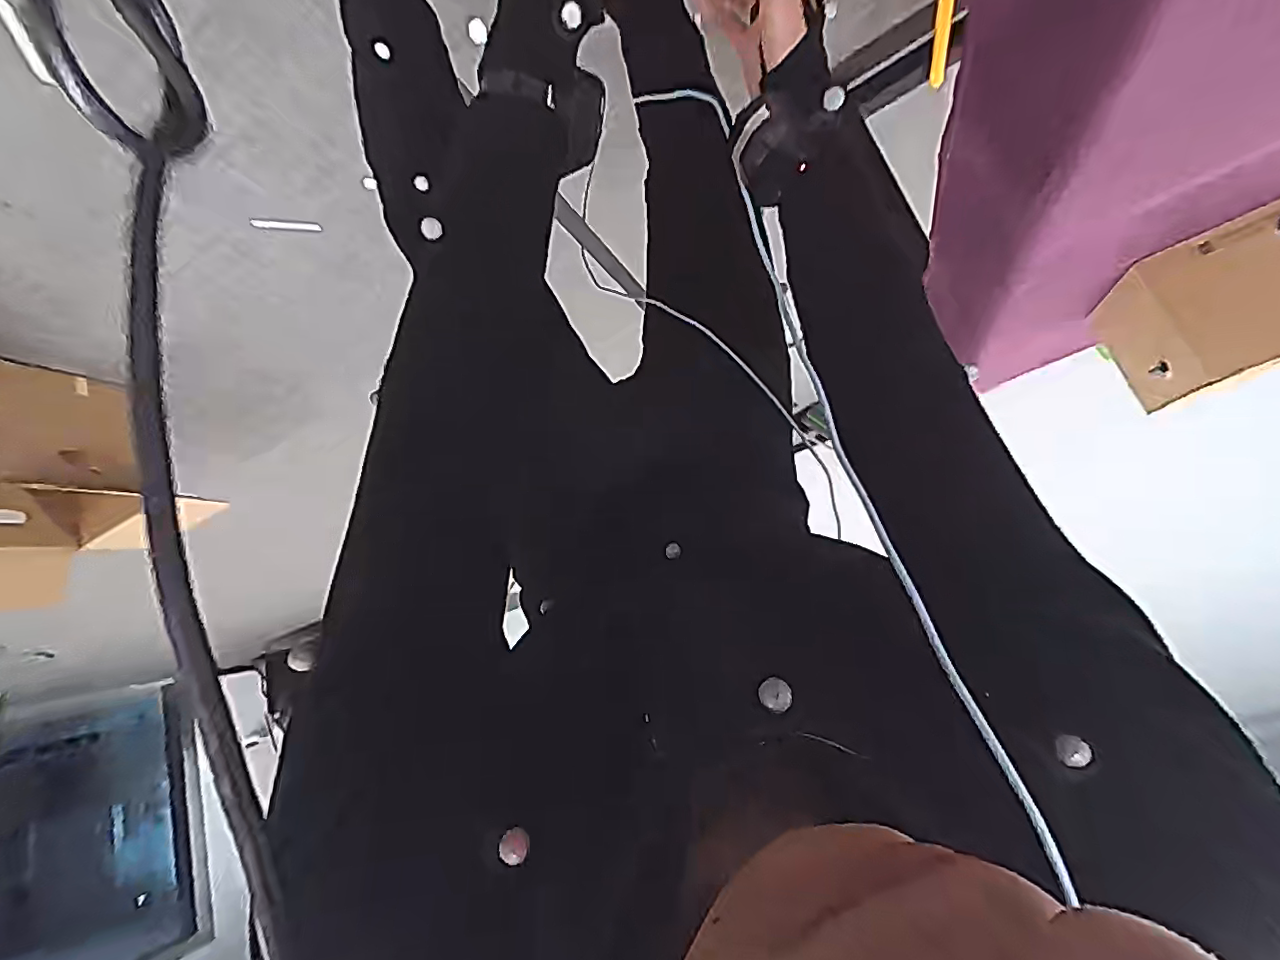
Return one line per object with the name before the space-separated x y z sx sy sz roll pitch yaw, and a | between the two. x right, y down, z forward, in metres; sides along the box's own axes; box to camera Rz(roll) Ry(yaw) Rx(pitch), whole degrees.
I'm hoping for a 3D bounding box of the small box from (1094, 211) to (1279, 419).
small box | 0.715 -0.200 0.669 0.168 0.176 0.179 -23 165 20
